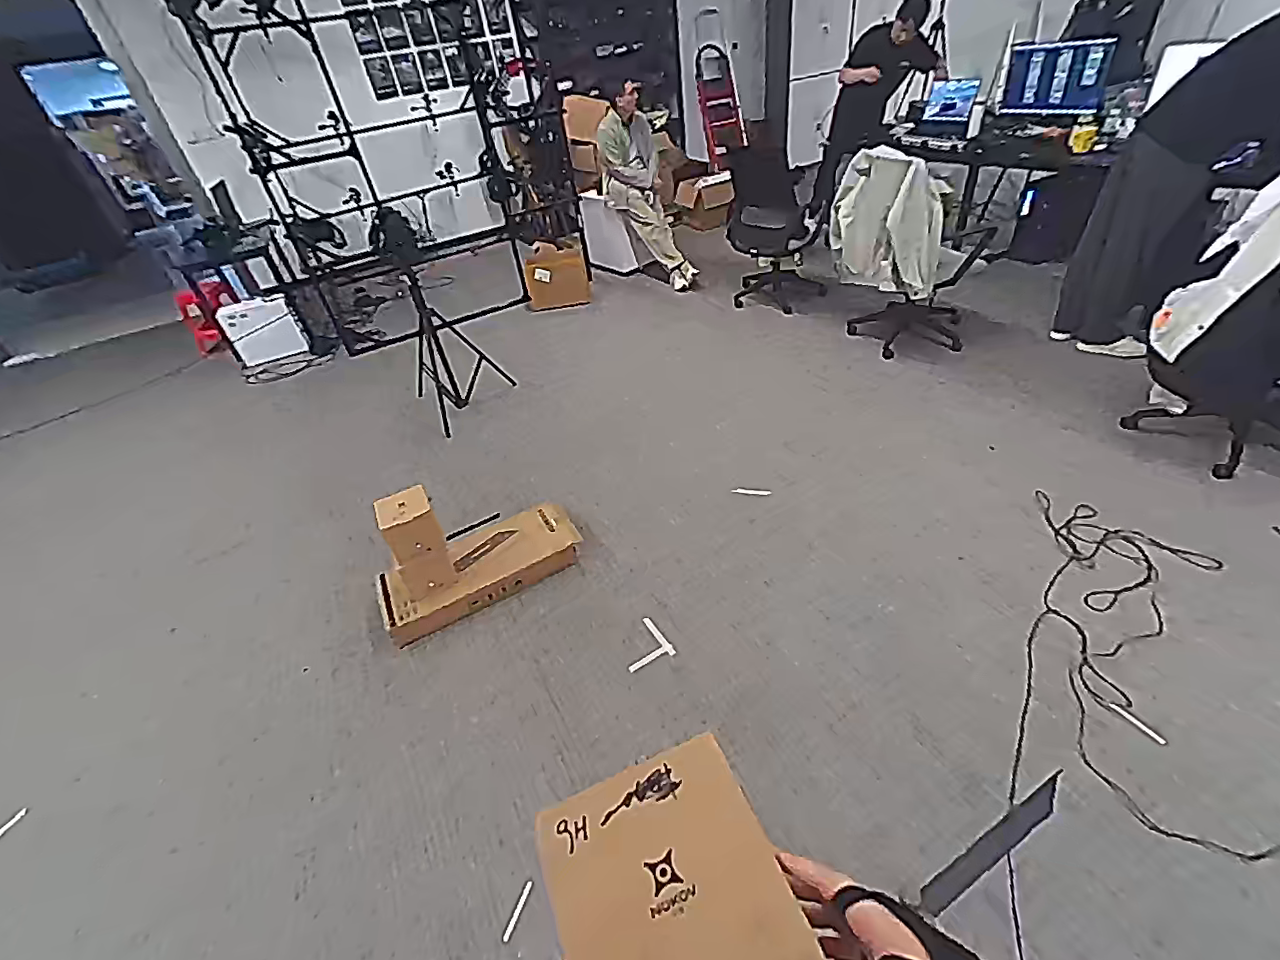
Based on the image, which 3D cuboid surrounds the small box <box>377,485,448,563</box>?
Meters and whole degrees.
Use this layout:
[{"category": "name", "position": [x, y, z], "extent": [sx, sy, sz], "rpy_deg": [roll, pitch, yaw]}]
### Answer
[{"category": "small box", "position": [-0.779, 0.151, 1.854], "extent": [0.168, 0.176, 0.179], "rpy_deg": [-24, 40, -18]}]

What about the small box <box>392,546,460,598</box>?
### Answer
[{"category": "small box", "position": [-0.771, 0.290, 1.945], "extent": [0.168, 0.176, 0.179], "rpy_deg": [-25, 42, -19]}]
